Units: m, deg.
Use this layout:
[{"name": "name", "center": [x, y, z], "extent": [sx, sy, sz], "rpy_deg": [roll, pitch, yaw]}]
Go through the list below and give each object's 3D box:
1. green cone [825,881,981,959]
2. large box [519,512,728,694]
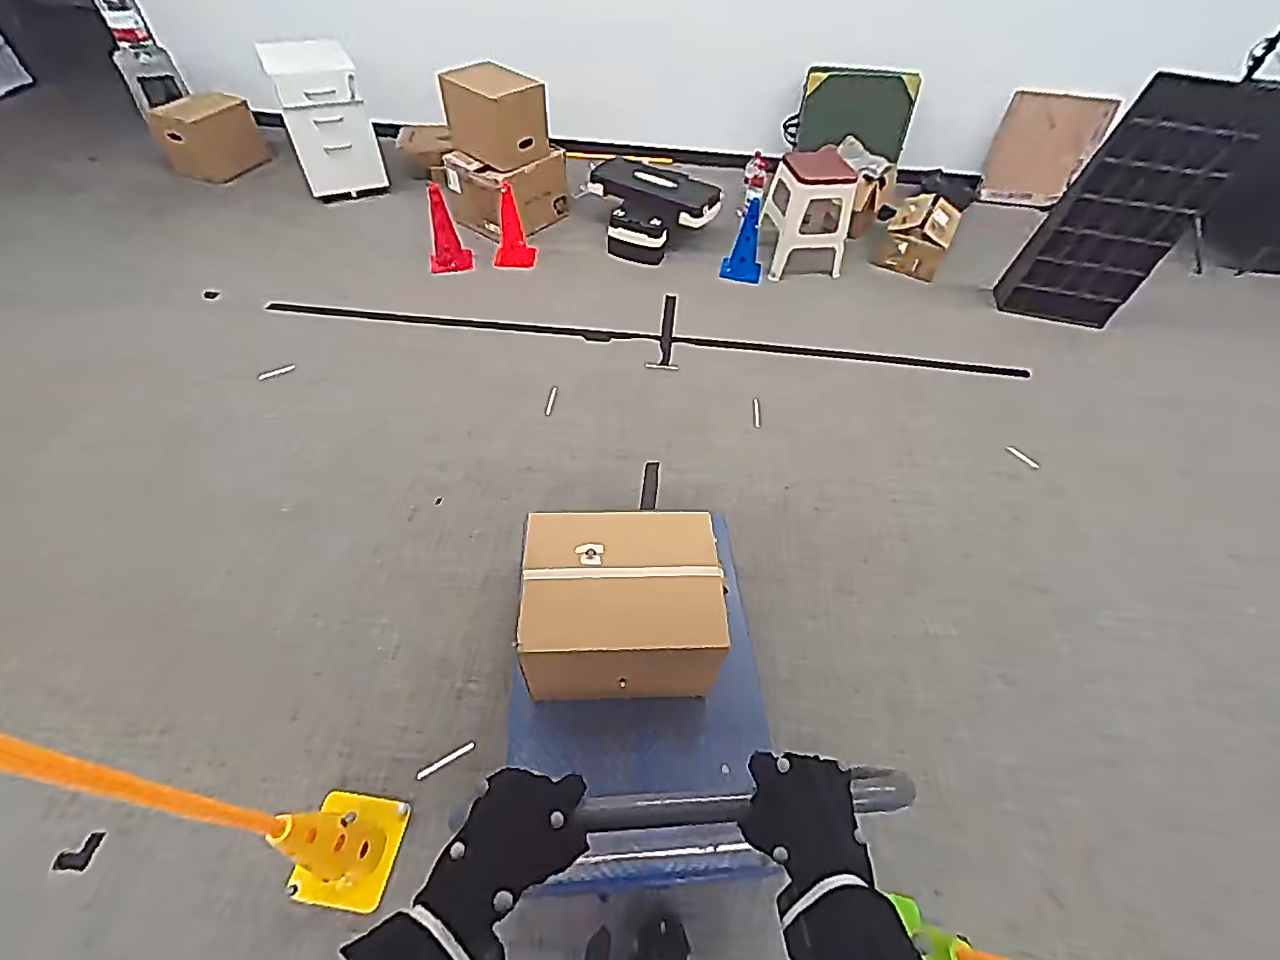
[{"name": "green cone", "center": [0.498, 0.862, 0.985], "extent": [0.202, 0.368, 0.200], "rpy_deg": [10, 51, 2]}, {"name": "large box", "center": [-0.040, 0.285, 1.227], "extent": [0.408, 0.320, 0.320], "rpy_deg": [0, 52, -3]}]
